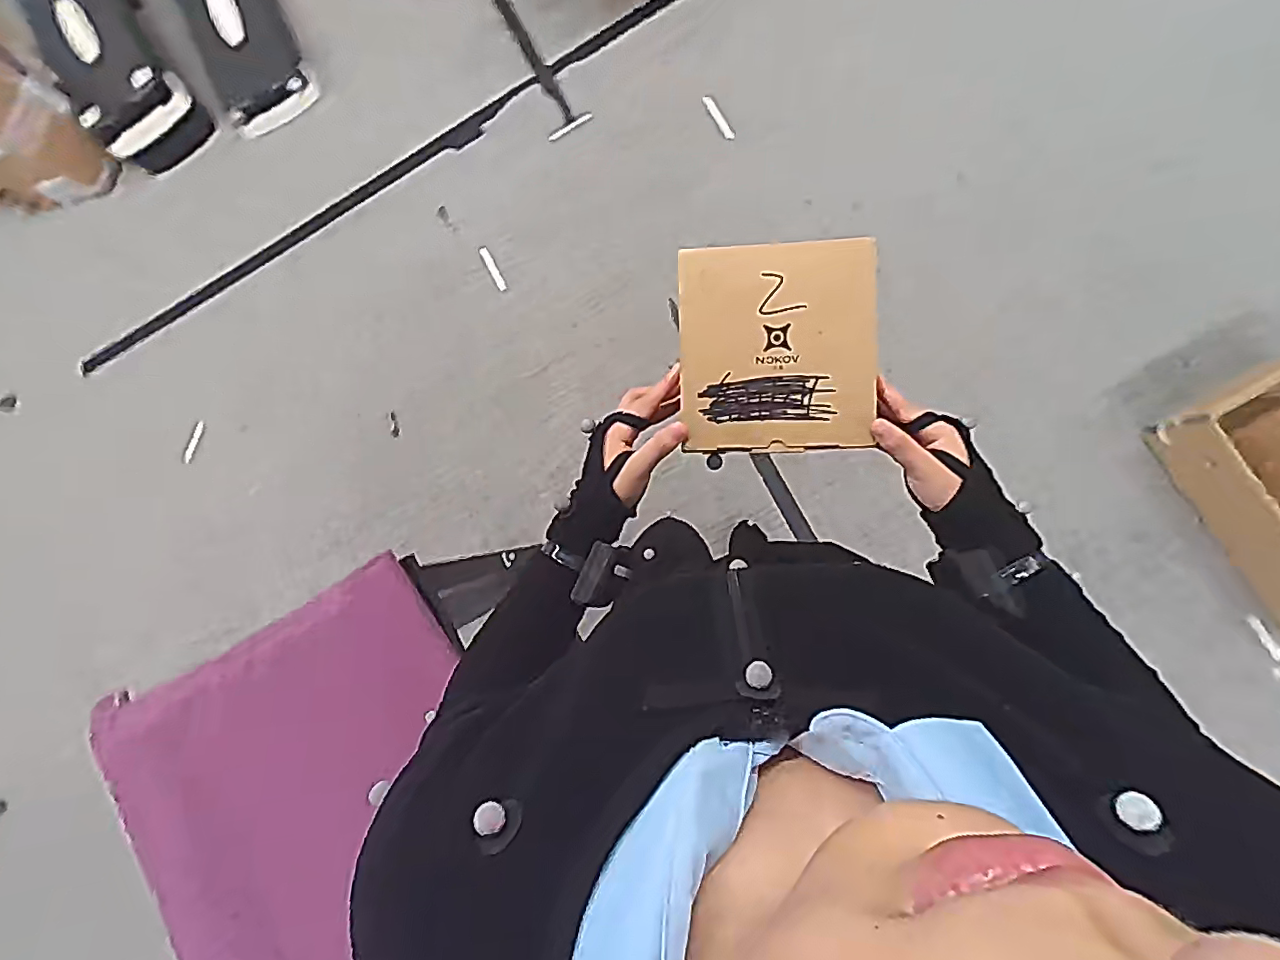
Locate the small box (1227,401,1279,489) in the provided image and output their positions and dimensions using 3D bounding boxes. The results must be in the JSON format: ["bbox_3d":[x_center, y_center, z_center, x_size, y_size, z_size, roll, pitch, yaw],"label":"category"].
[{"bbox_3d":[1.537,-0.089,1.248,0.179,0.176,0.168,-33,85,3],"label":"small box"}]
